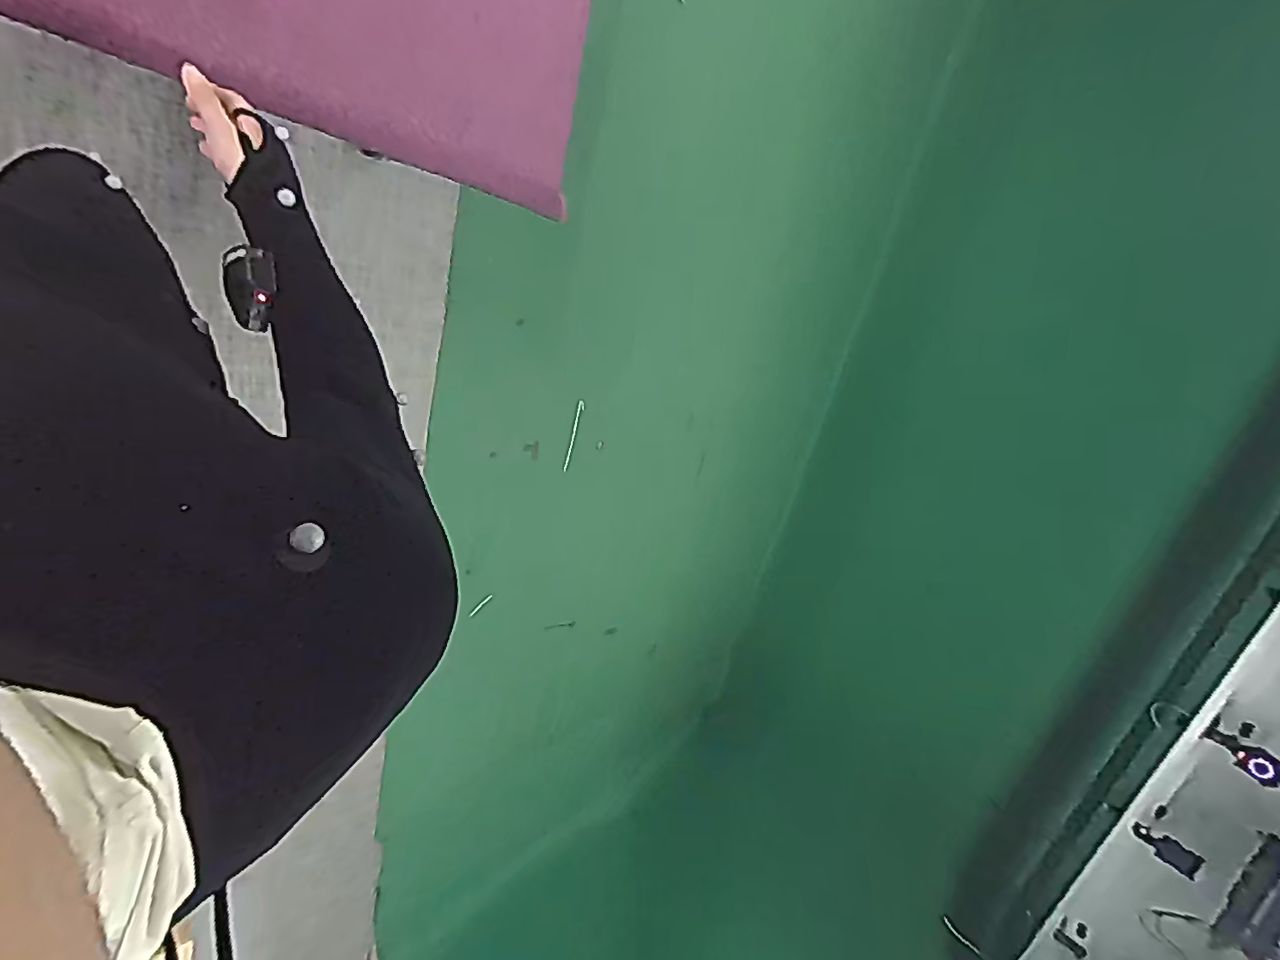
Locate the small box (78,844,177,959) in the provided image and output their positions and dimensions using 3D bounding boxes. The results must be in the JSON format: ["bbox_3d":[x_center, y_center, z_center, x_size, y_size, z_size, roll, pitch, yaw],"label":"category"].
[{"bbox_3d":[-1.308,1.089,1.381,0.168,0.176,0.179,-5,118,-50],"label":"small box"}]

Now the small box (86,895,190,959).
[{"bbox_3d":[-1.192,1.155,1.286,0.168,0.176,0.179,-6,117,-49],"label":"small box"}]
